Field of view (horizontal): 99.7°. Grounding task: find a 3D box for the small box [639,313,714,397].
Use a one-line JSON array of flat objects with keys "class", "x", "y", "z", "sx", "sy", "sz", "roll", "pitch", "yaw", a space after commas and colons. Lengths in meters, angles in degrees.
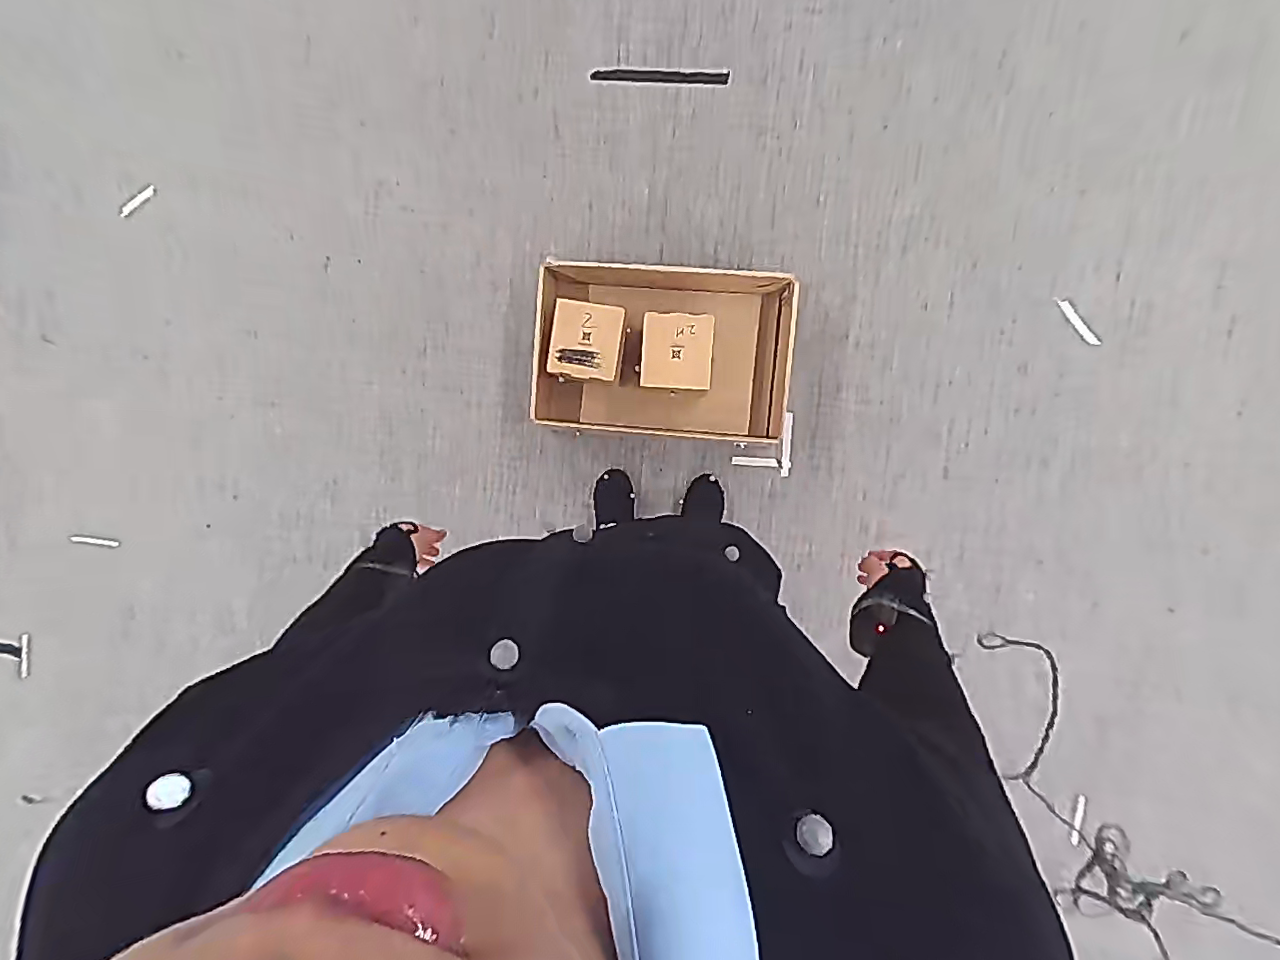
[{"class": "small box", "x": 0.092, "y": -0.303, "z": 1.341, "sx": 0.168, "sy": 0.176, "sz": 0.179, "roll": 4, "pitch": 94, "yaw": 4}]
